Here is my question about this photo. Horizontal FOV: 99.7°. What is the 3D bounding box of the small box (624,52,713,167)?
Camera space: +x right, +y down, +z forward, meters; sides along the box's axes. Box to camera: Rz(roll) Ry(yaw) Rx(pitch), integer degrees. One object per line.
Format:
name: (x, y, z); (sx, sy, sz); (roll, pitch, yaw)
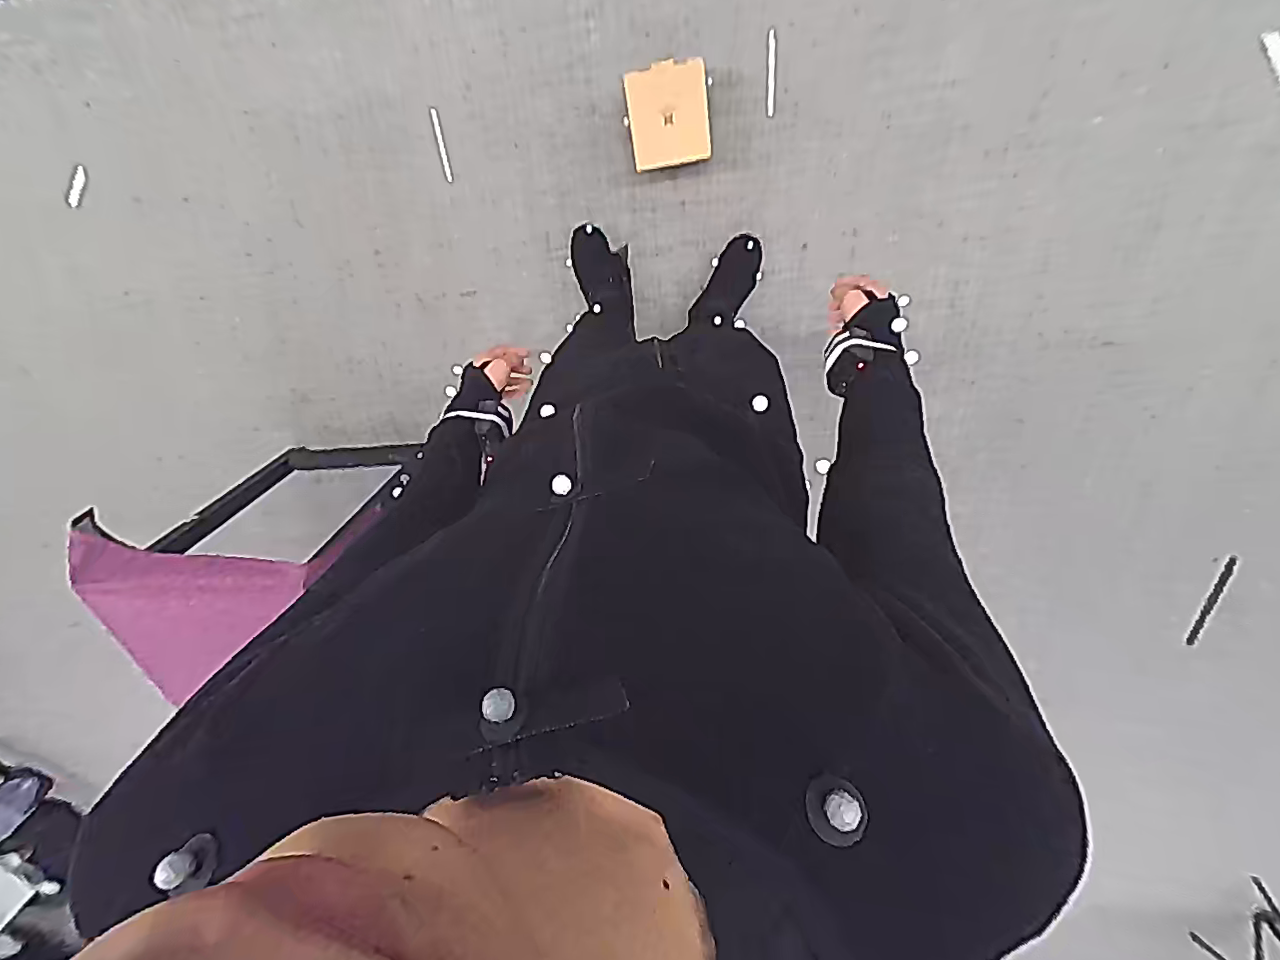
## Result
small box: (0.071, -0.803, 1.184); (0.168, 0.176, 0.179); (-5, 120, 11)

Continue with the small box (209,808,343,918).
small box: (-0.876, 0.928, 1.320); (0.179, 0.176, 0.168); (-7, 121, 12)
